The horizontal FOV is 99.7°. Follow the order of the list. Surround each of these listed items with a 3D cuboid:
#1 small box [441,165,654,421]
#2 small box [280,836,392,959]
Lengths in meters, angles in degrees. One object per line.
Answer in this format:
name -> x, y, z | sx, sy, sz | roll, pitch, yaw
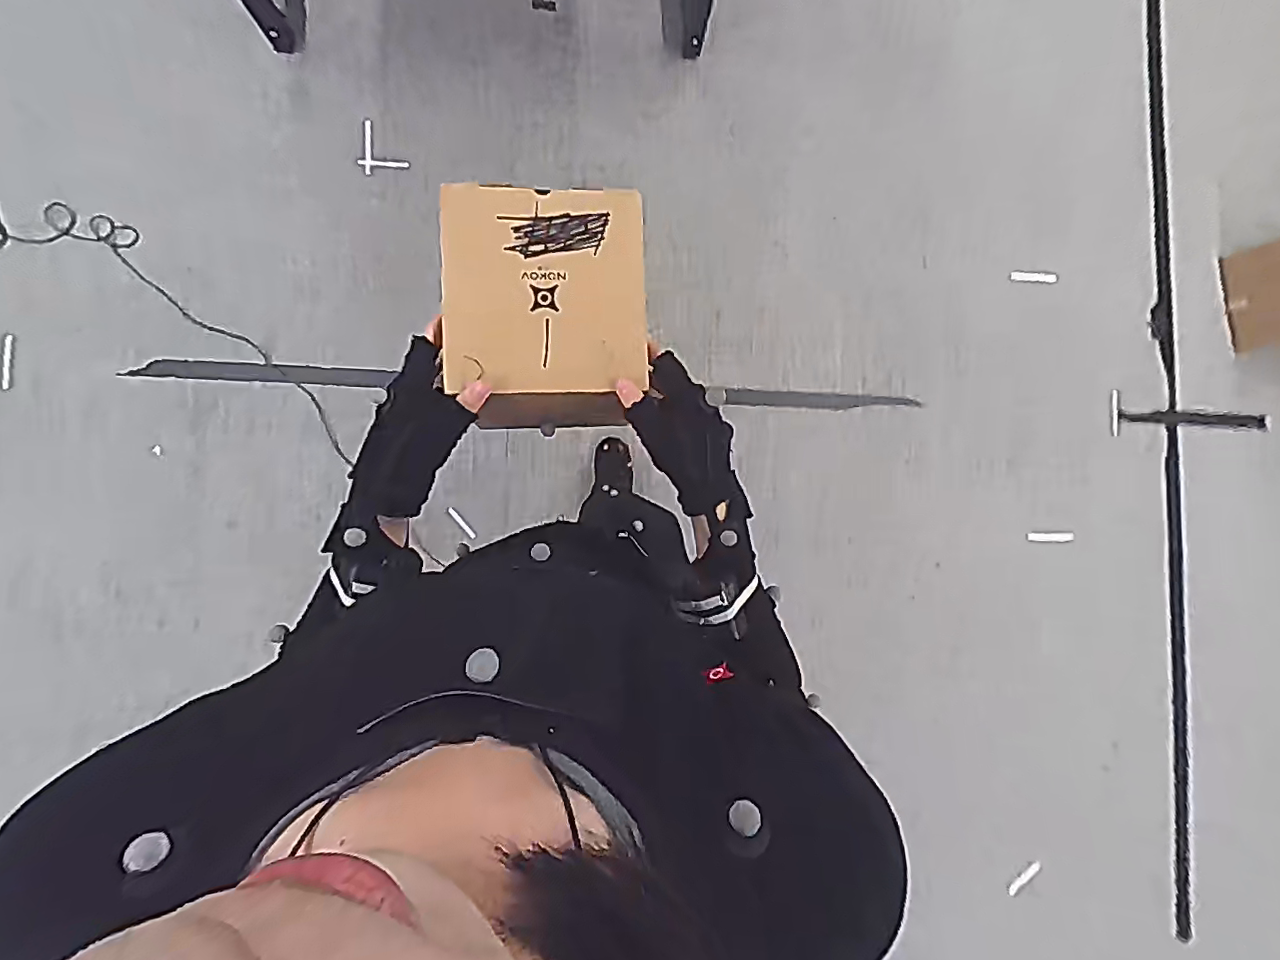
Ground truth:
small box -> -0.083, -0.157, 0.507 | 0.168, 0.176, 0.179 | -3, 86, -7
small box -> -0.736, 1.022, 1.332 | 0.168, 0.176, 0.179 | 15, 85, -4
